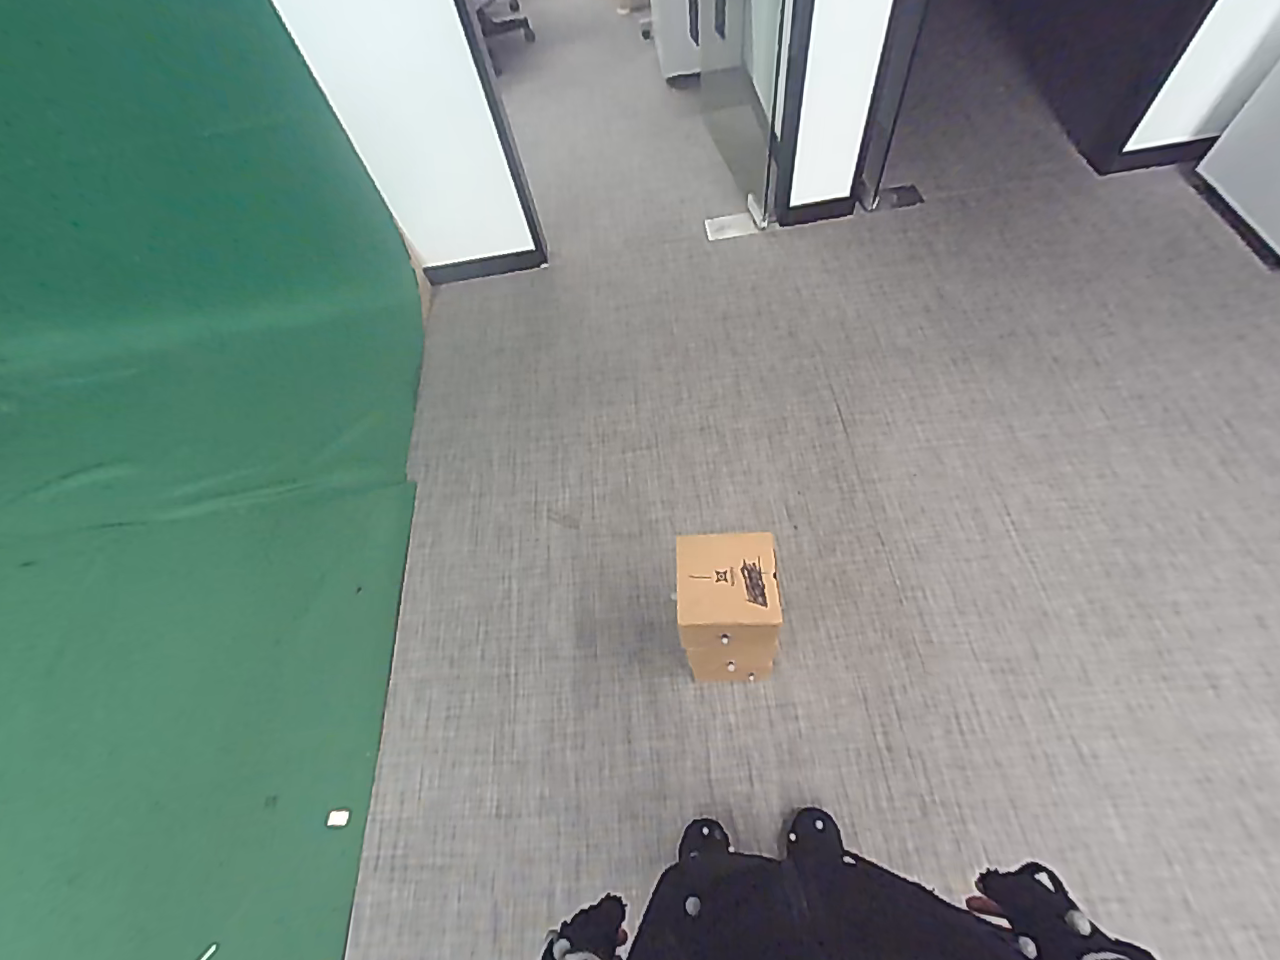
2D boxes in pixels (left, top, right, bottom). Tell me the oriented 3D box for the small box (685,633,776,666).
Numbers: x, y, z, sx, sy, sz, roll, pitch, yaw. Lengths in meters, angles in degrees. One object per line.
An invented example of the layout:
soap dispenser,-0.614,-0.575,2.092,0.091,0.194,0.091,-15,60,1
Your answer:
small box,0.183,0.292,1.147,0.179,0.176,0.168,-3,59,6

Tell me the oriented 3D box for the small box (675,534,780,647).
small box,0.160,0.209,1.007,0.179,0.176,0.168,-2,59,9

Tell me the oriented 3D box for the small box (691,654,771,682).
small box,0.207,0.377,1.285,0.179,0.176,0.168,-6,59,6
